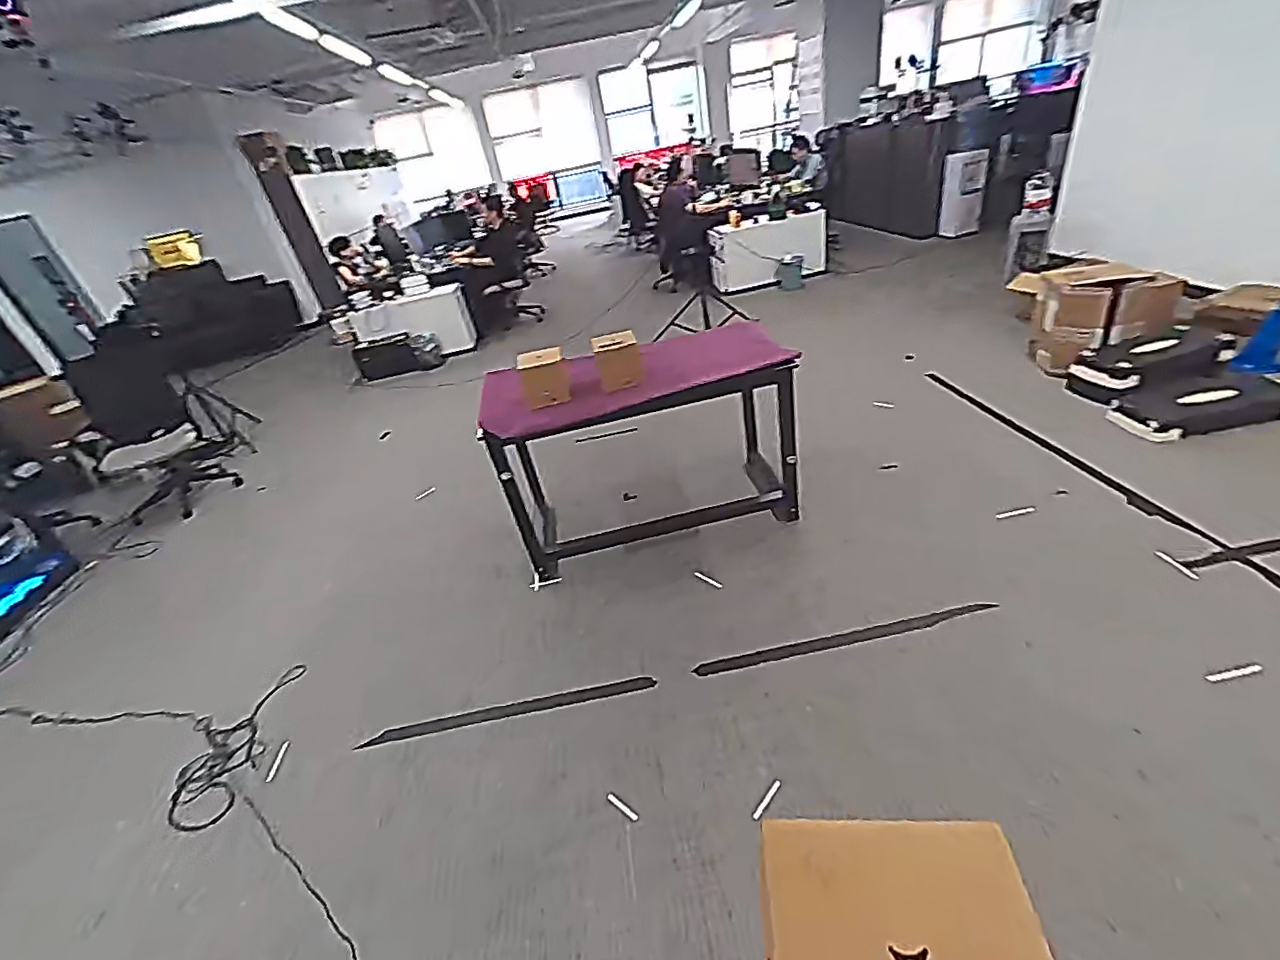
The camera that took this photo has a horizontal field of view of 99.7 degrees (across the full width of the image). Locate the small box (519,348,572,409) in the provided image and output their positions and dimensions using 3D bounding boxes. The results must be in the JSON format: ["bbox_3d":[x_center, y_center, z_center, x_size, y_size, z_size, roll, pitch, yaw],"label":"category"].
[{"bbox_3d":[-0.366,-0.396,2.105,0.168,0.176,0.179,-13,32,-4],"label":"small box"}]

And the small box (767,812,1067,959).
[{"bbox_3d":[0.178,0.354,0.365,0.168,0.176,0.179,-5,37,7],"label":"small box"}]
